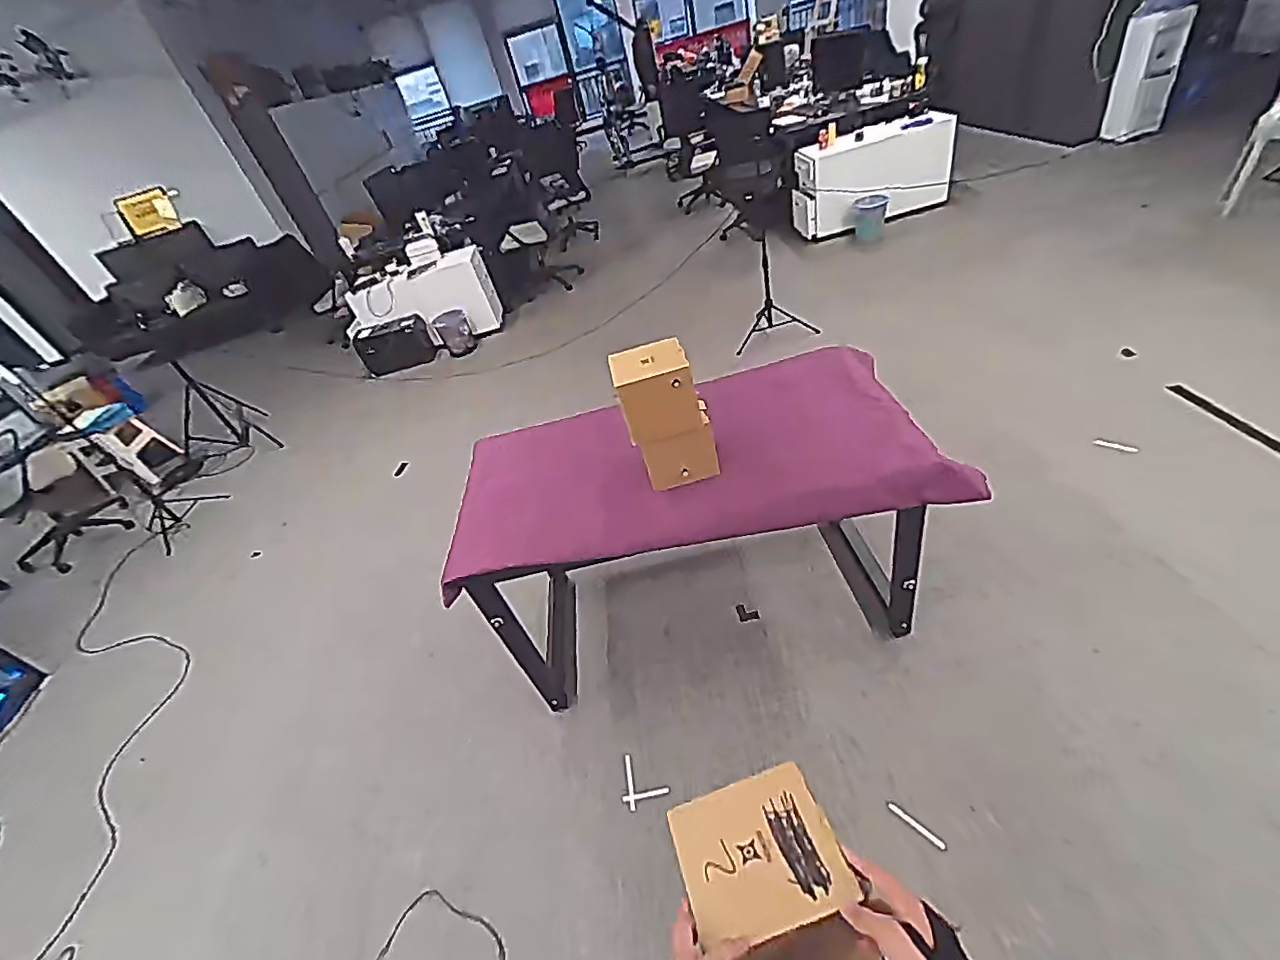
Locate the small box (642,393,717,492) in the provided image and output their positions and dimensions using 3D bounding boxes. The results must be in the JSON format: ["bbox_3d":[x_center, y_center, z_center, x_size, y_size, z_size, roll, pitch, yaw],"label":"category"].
[{"bbox_3d":[0.095,-0.094,1.389,0.179,0.176,0.168,-15,38,2],"label":"small box"}]

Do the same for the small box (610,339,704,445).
[{"bbox_3d":[0.039,-0.205,1.281,0.179,0.176,0.168,-16,38,2],"label":"small box"}]
